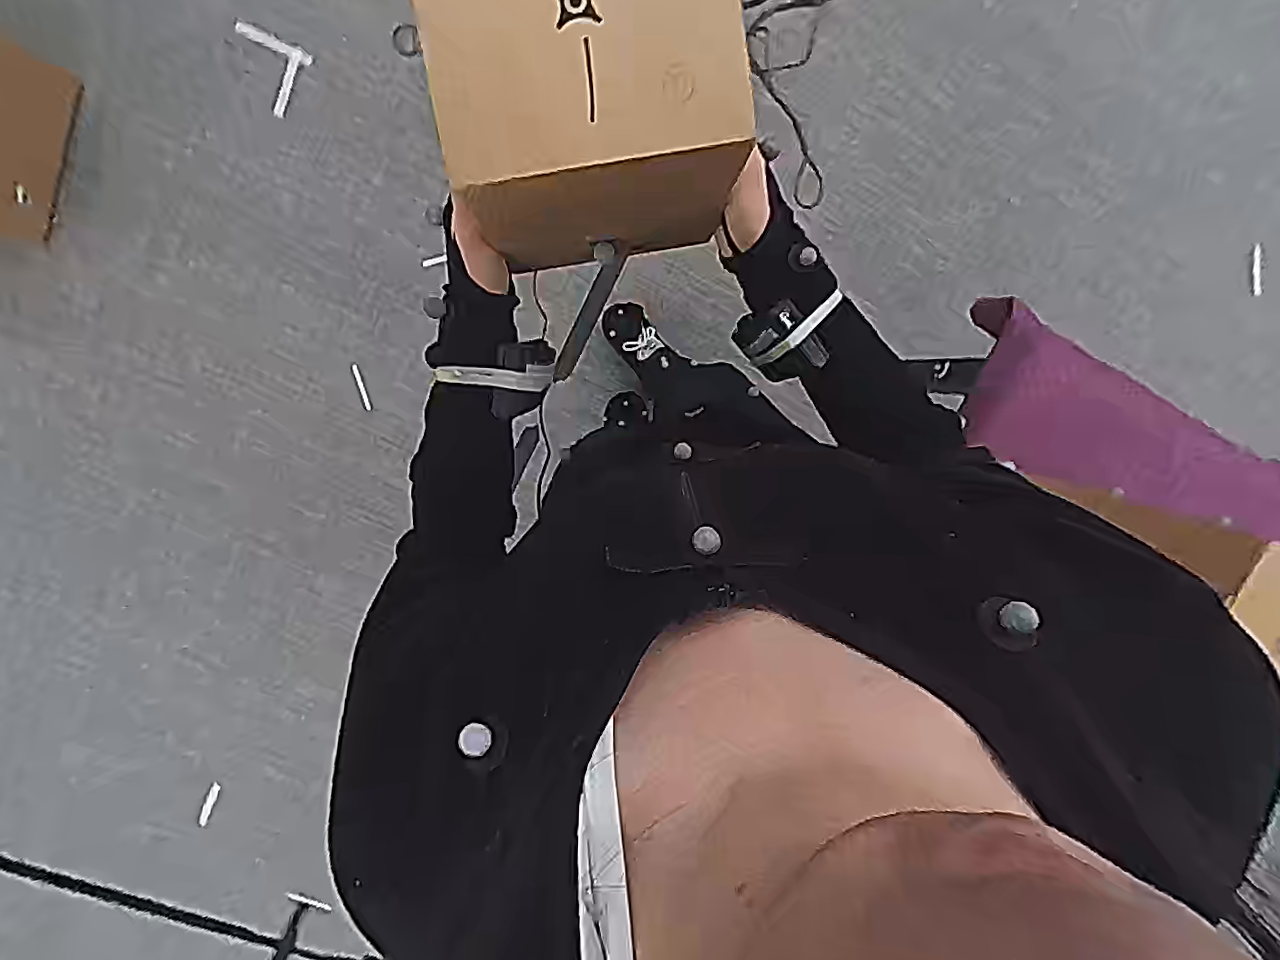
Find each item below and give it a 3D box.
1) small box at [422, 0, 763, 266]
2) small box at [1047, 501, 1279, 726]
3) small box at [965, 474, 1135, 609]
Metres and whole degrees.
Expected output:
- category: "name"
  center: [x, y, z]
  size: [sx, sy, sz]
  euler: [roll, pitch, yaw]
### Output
- category: "small box"
  center: [-0.032, -0.261, 0.350]
  size: [0.168, 0.176, 0.179]
  euler: [-10, 97, -1]
- category: "small box"
  center: [0.607, 0.135, 0.590]
  size: [0.179, 0.176, 0.168]
  euler: [20, 101, -9]
- category: "small box"
  center: [0.603, 0.101, 0.749]
  size: [0.179, 0.176, 0.168]
  euler: [22, 100, -9]
